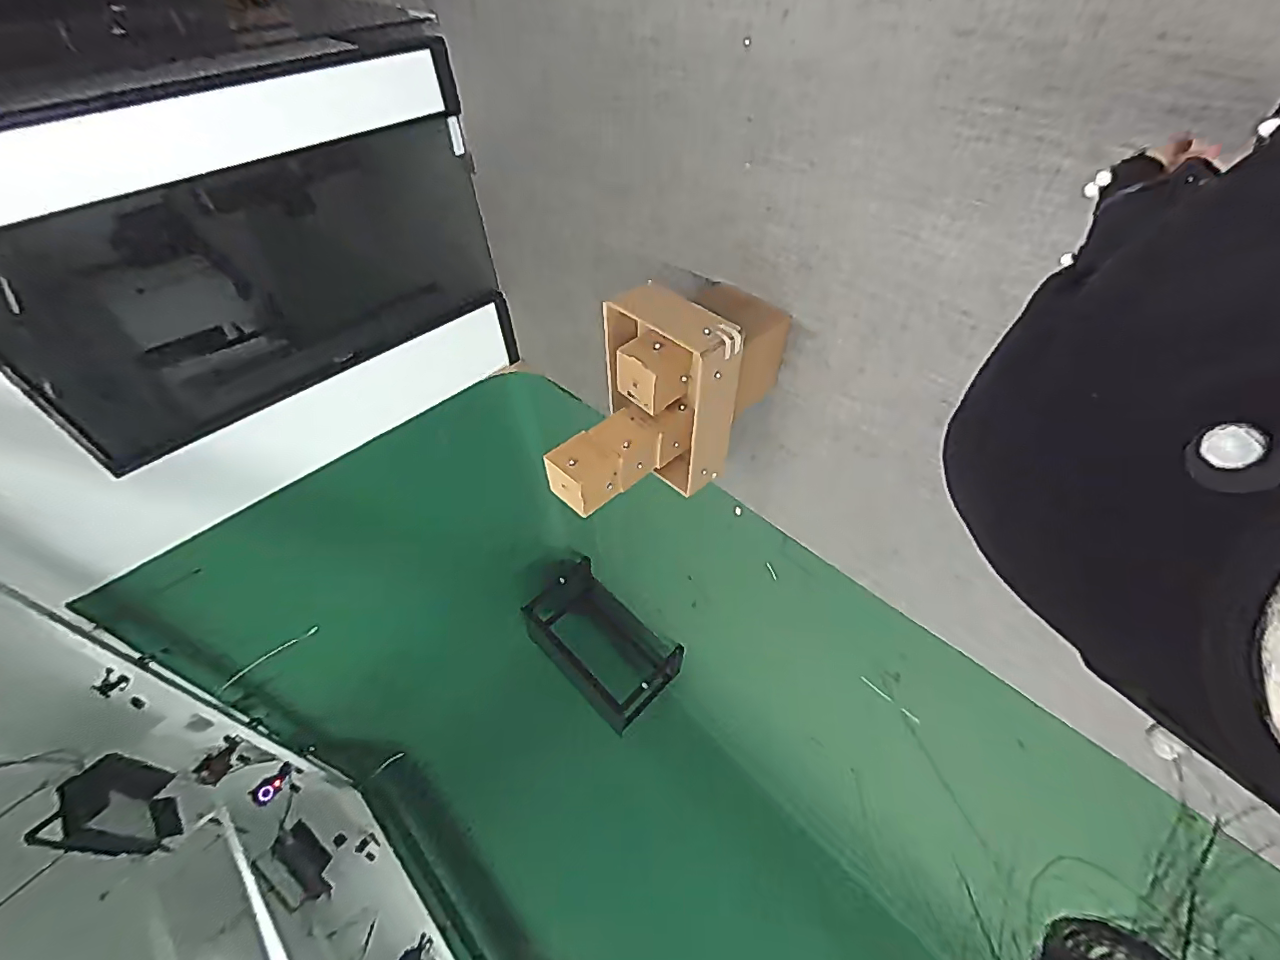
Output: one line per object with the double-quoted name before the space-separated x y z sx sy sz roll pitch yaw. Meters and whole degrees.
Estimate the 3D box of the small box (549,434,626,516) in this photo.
"small box" -0.165 -0.024 1.733 0.179 0.176 0.168 36 148 30
